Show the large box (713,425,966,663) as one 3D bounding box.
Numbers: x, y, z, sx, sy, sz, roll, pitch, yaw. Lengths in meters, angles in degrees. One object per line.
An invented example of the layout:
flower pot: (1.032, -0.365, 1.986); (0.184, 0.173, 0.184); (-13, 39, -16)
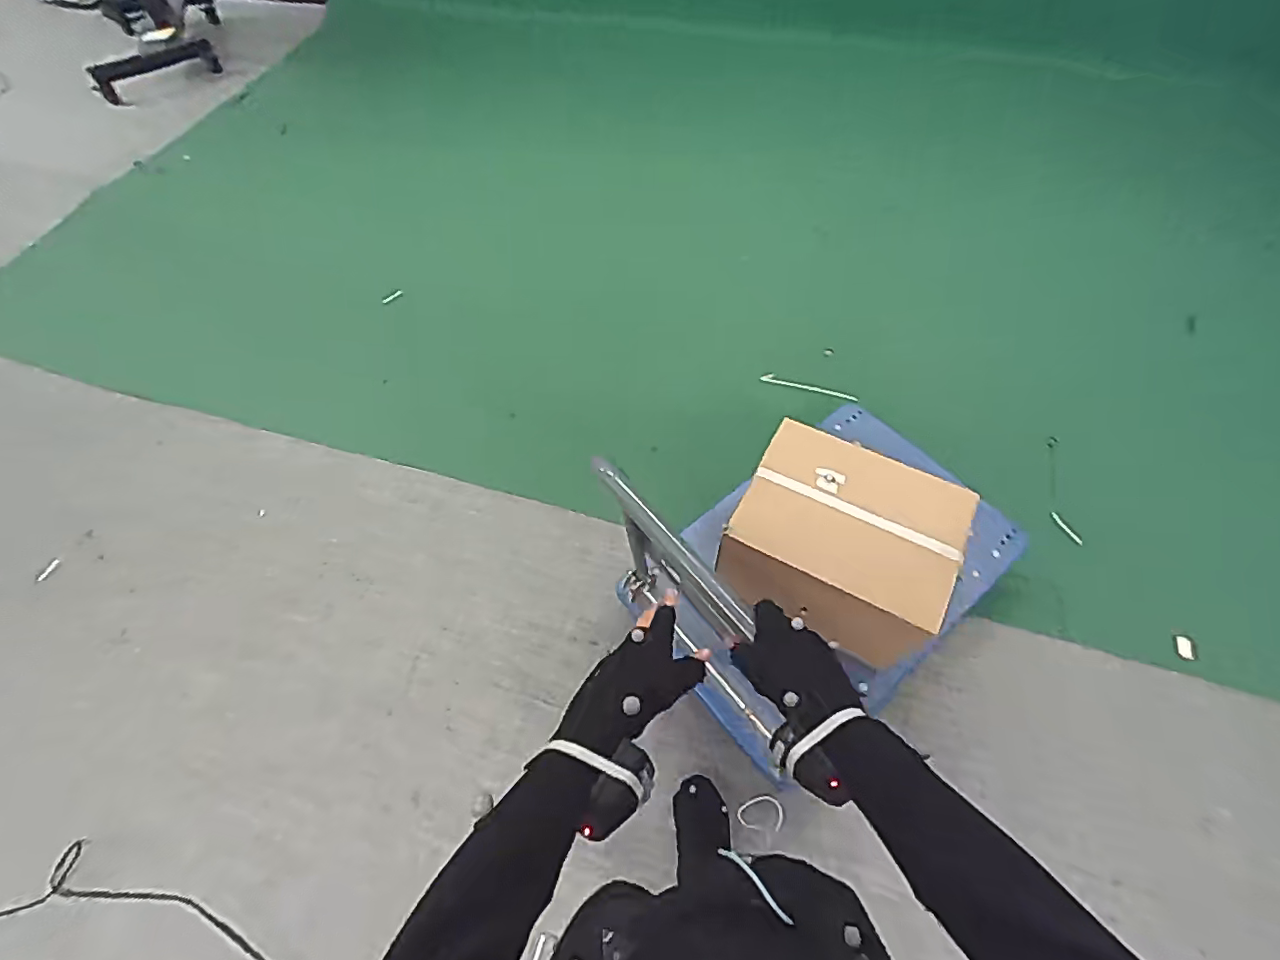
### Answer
large box: (0.409, 0.145, 1.184); (0.408, 0.320, 0.320); (25, 64, 18)
